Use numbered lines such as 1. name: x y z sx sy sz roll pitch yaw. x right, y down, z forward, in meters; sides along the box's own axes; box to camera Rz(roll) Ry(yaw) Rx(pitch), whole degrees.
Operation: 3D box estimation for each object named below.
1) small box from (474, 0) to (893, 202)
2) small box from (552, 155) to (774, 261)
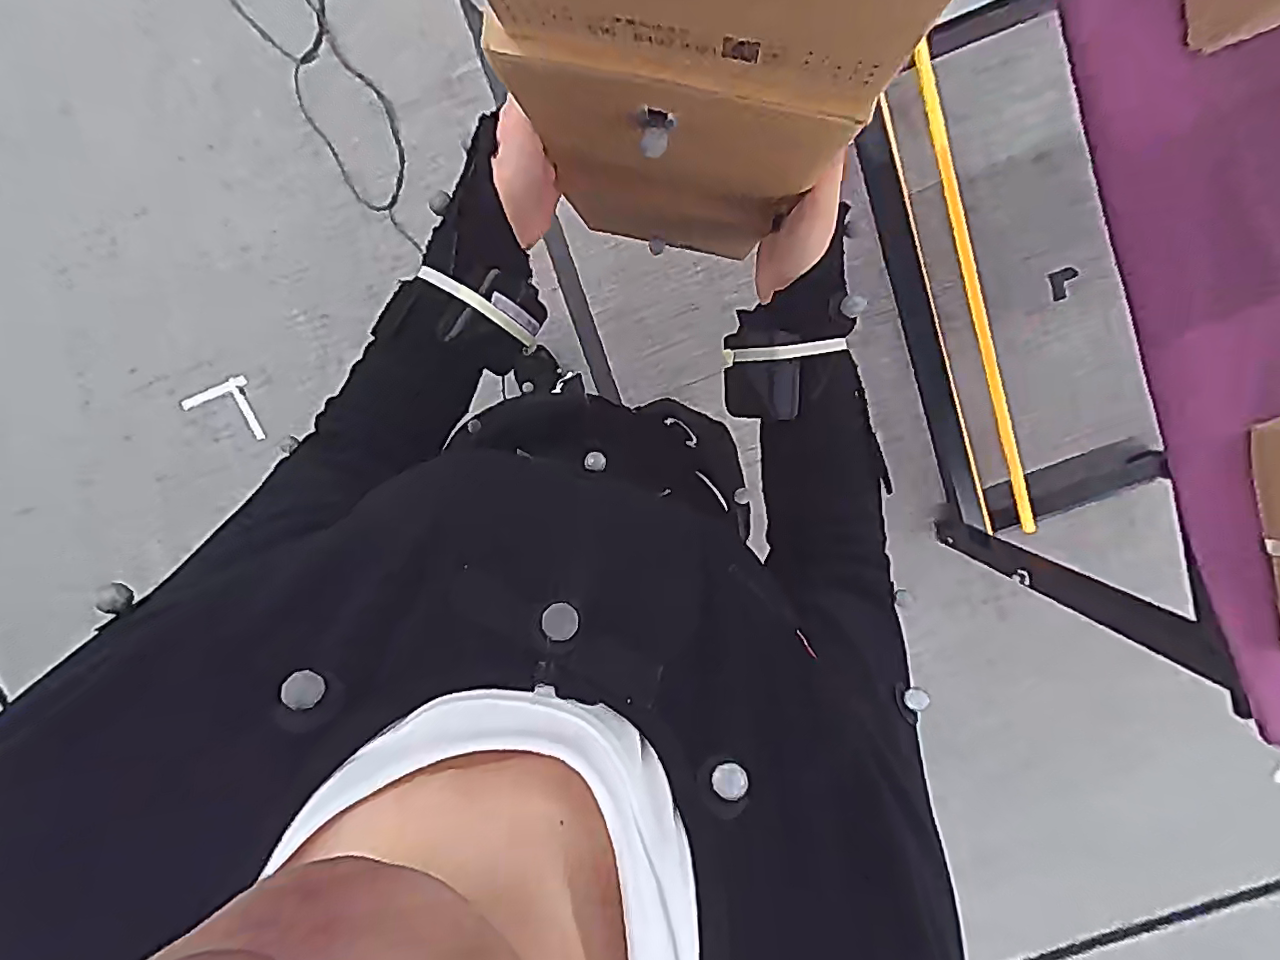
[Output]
1. small box: 0.031 -0.268 0.294 0.179 0.176 0.168 12 105 2
2. small box: 0.035 -0.301 0.454 0.168 0.176 0.179 12 105 1
